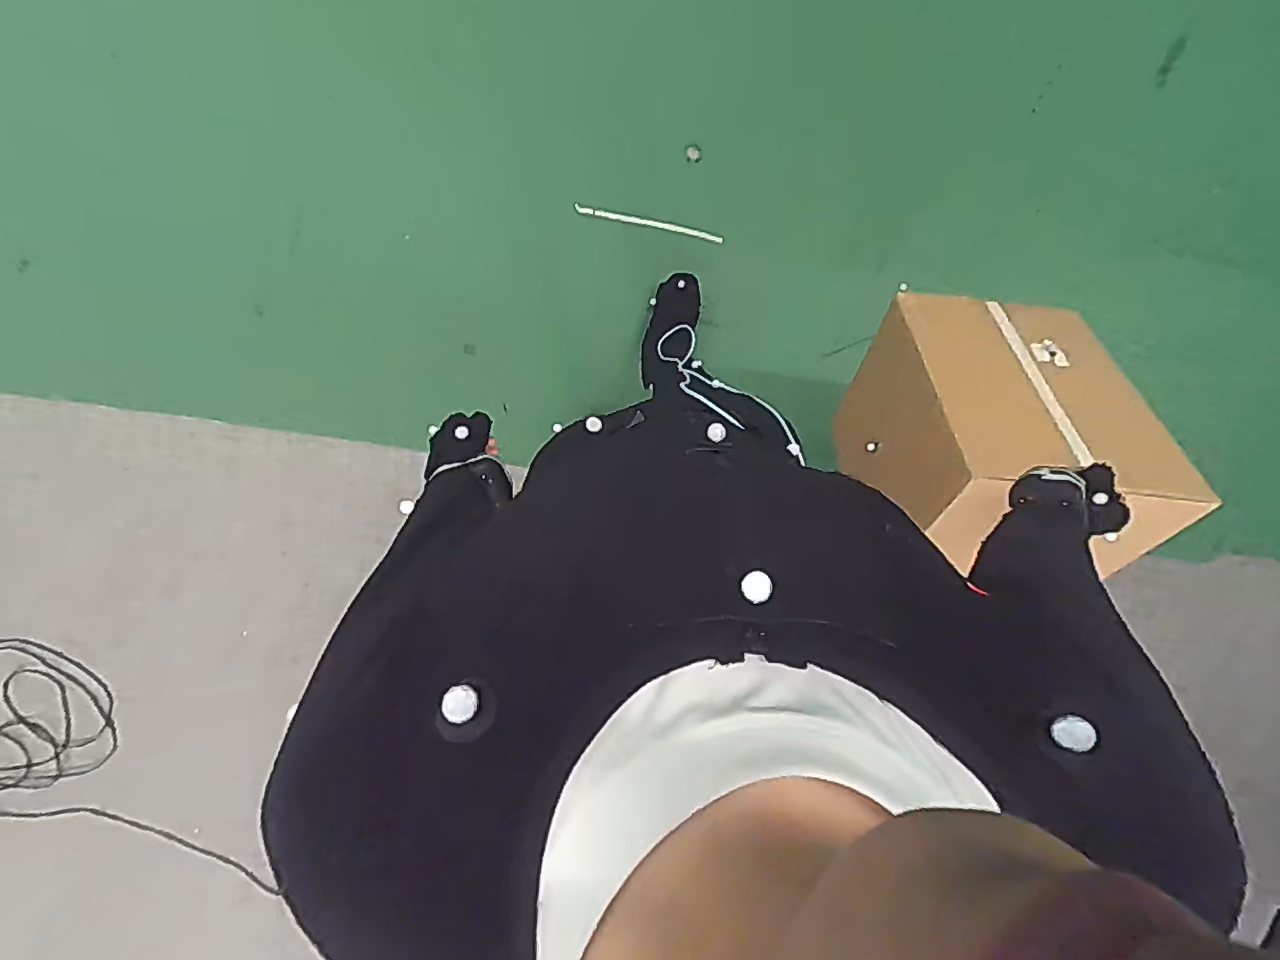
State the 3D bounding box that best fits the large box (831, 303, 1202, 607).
[{"bbox_3d":[0.551,-0.041,0.908,0.320,0.408,0.320,7,140,-2],"label":"large box"}]
